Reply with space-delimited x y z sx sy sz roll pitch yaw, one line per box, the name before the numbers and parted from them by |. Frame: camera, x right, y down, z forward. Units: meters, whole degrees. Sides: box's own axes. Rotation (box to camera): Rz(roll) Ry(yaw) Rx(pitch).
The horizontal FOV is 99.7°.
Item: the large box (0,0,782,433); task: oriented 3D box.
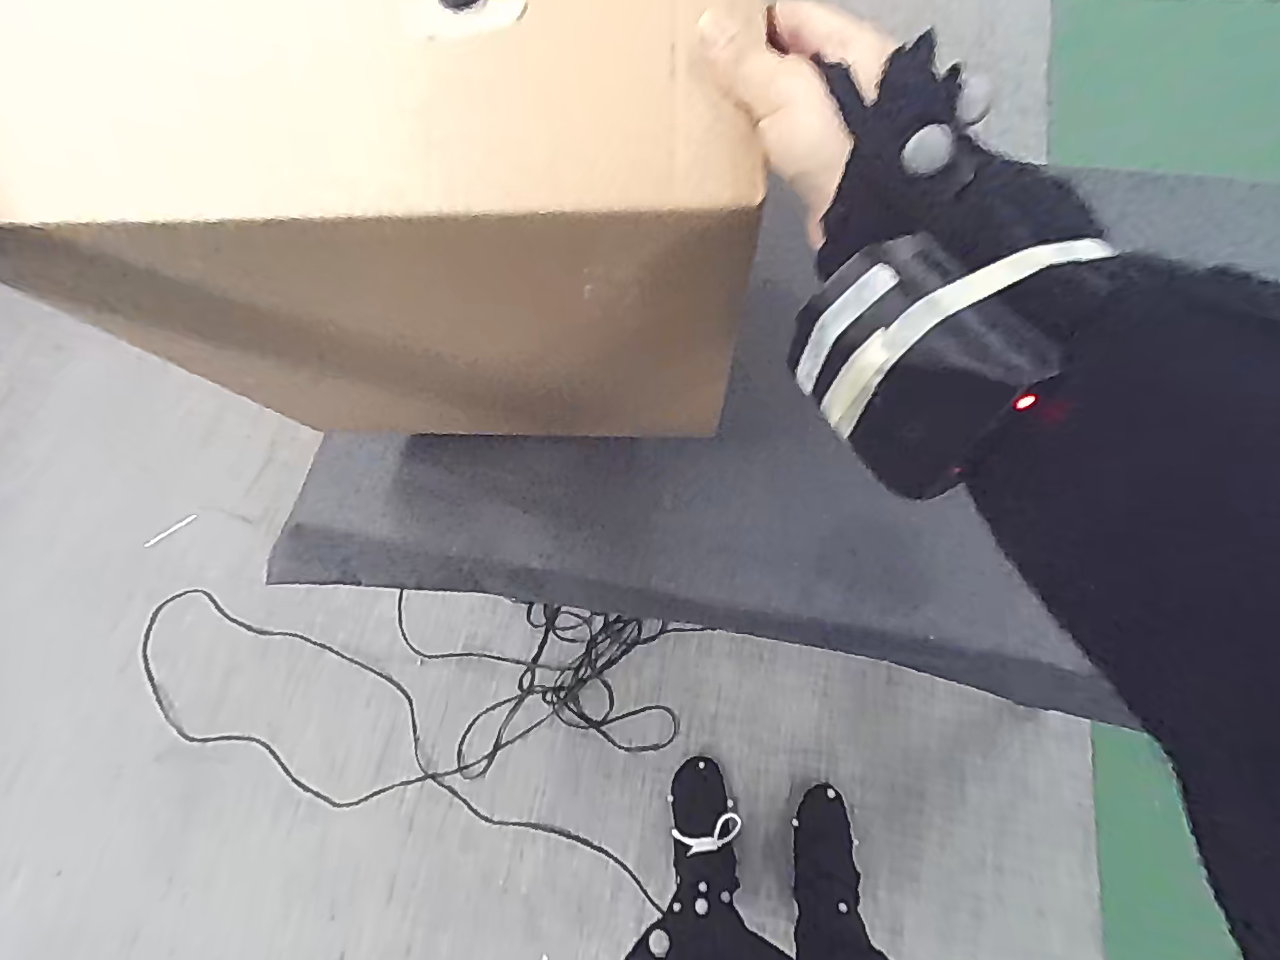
large box | -0.128 -0.229 0.424 0.408 0.320 0.320 1 78 3
